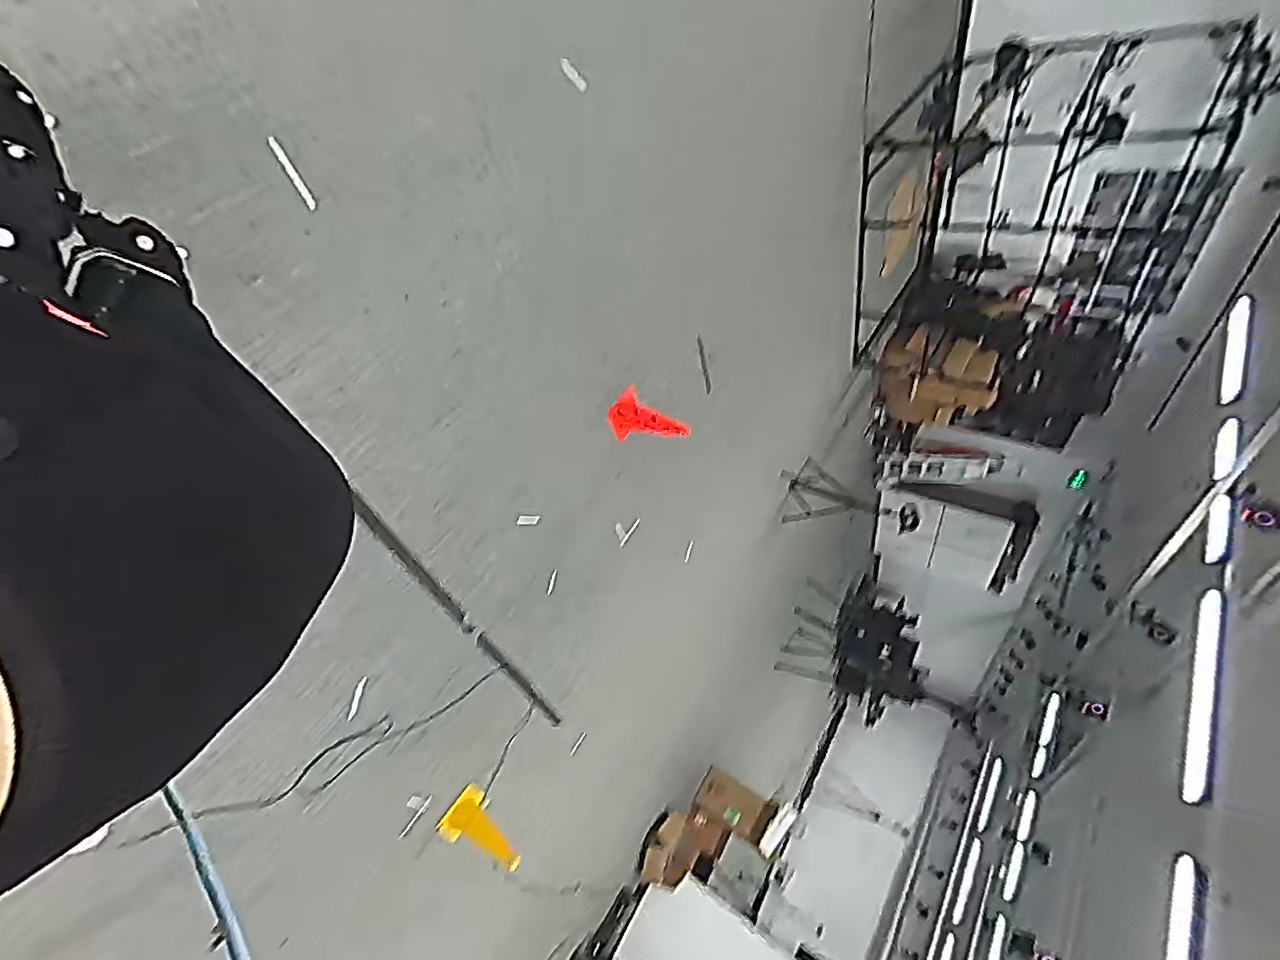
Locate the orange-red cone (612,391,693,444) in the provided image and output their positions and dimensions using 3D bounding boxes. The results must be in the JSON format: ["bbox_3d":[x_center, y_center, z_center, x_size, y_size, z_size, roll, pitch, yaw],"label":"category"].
[{"bbox_3d":[0.079,-0.246,2.446,0.198,0.360,0.199,-54,143,-25],"label":"orange-red cone"}]
